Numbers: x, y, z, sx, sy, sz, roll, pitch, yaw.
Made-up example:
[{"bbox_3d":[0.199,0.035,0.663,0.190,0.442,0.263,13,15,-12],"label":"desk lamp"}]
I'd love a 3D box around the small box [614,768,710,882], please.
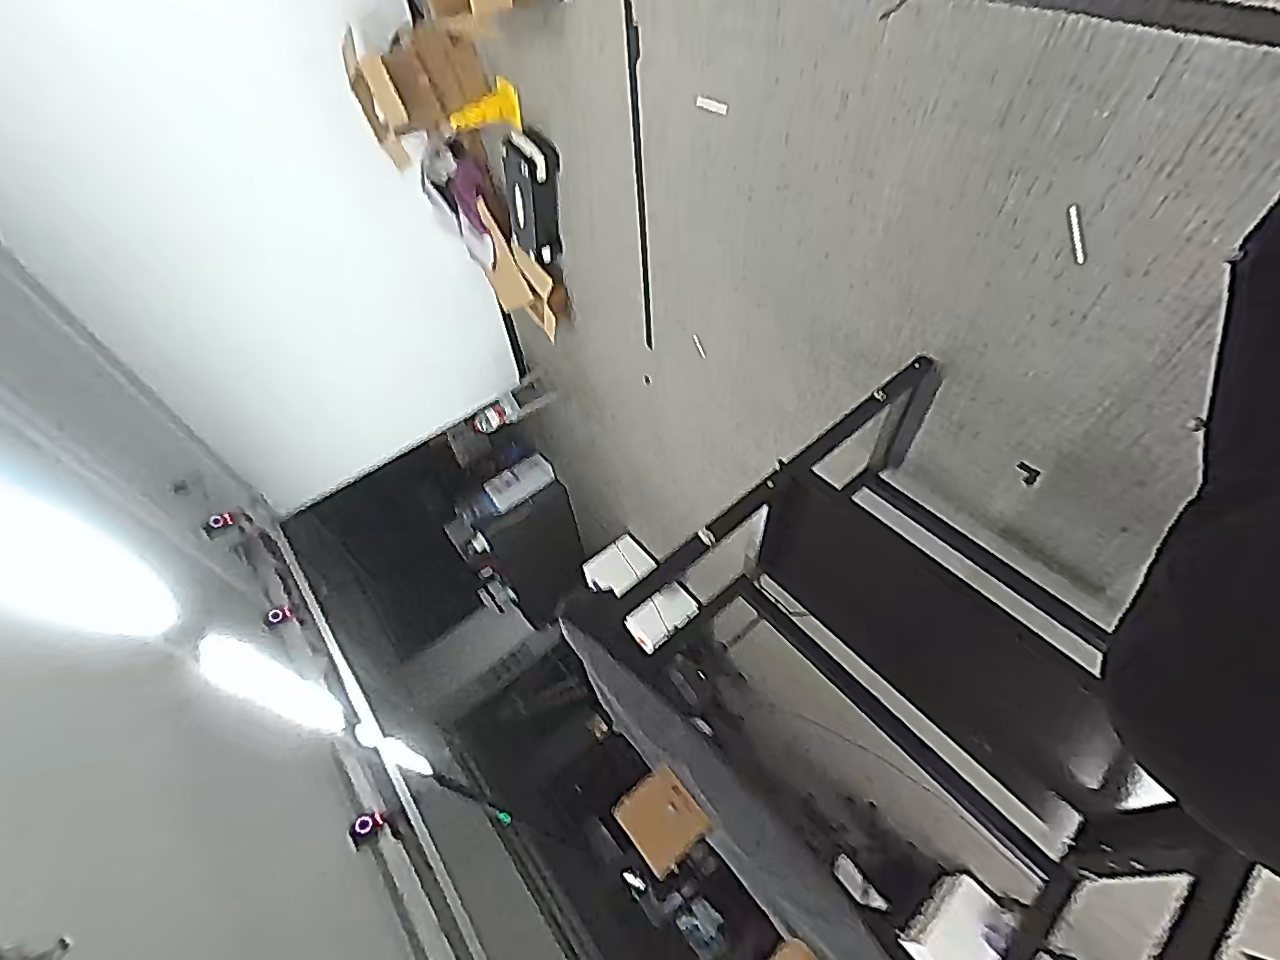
[{"bbox_3d":[0.056,0.849,1.337,0.168,0.176,0.179,43,156,27],"label":"small box"}]

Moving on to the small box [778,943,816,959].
[{"bbox_3d":[0.341,1.118,1.129,0.168,0.176,0.179,43,156,30],"label":"small box"}]
